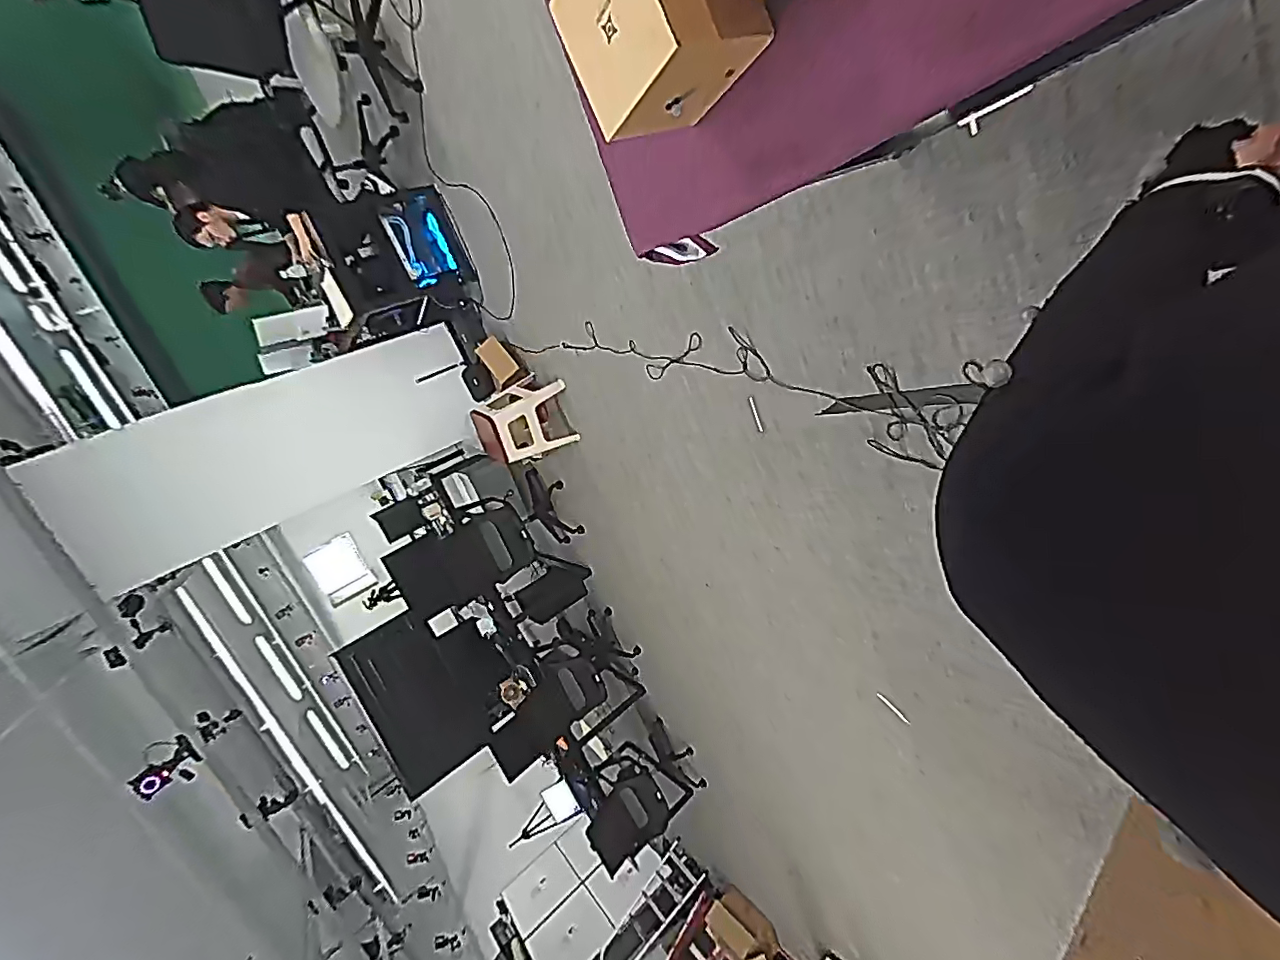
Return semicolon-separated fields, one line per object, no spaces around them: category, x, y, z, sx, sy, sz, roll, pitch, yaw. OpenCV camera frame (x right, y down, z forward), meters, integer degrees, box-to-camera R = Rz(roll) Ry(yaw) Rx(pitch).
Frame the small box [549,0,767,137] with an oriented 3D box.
small box;0.023;-0.562;0.656;0.168;0.176;0.179;-9;108;60
